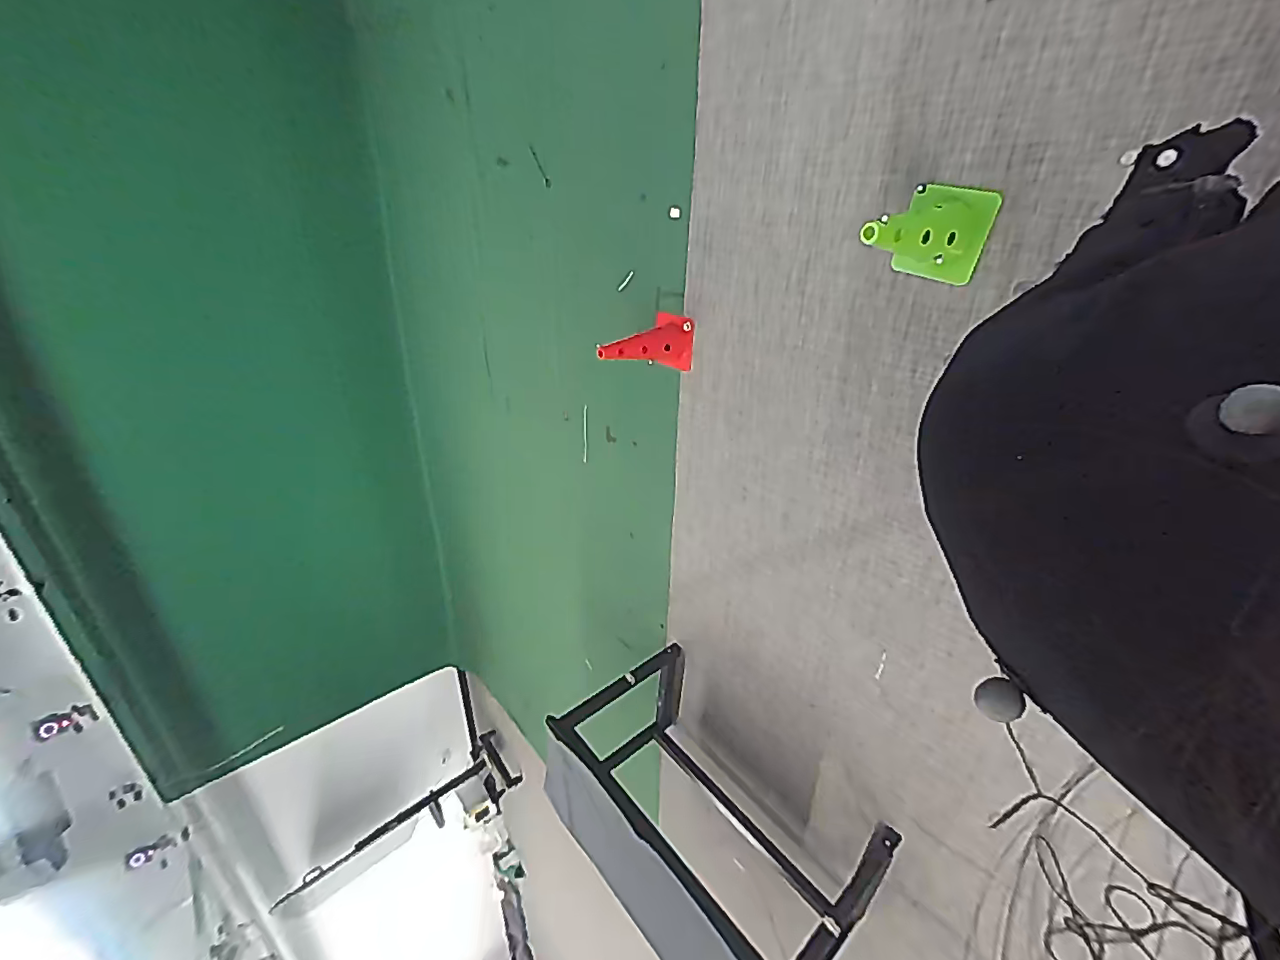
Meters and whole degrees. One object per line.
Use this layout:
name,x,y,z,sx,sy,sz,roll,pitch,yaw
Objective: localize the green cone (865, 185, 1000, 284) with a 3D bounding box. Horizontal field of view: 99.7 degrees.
green cone,0.601,-0.548,1.201,0.202,0.368,0.200,34,130,38
